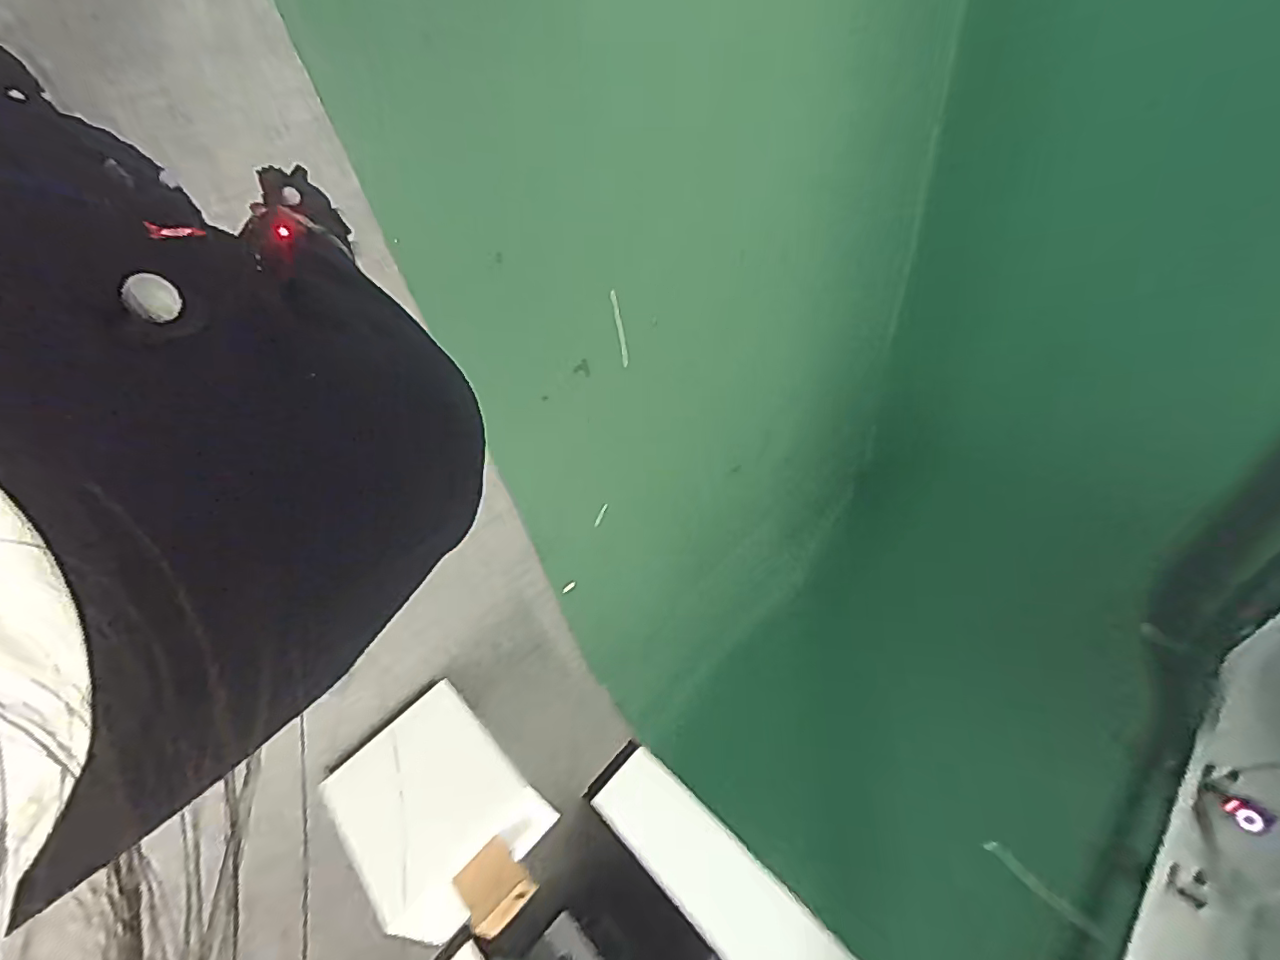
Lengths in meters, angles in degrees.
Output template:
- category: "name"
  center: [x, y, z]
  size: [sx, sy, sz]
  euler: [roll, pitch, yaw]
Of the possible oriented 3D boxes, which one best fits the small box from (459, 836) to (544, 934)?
- category: "small box"
  center: [-0.439, 1.281, 1.717]
  size: [0.179, 0.176, 0.168]
  euler: [-38, 139, -25]
